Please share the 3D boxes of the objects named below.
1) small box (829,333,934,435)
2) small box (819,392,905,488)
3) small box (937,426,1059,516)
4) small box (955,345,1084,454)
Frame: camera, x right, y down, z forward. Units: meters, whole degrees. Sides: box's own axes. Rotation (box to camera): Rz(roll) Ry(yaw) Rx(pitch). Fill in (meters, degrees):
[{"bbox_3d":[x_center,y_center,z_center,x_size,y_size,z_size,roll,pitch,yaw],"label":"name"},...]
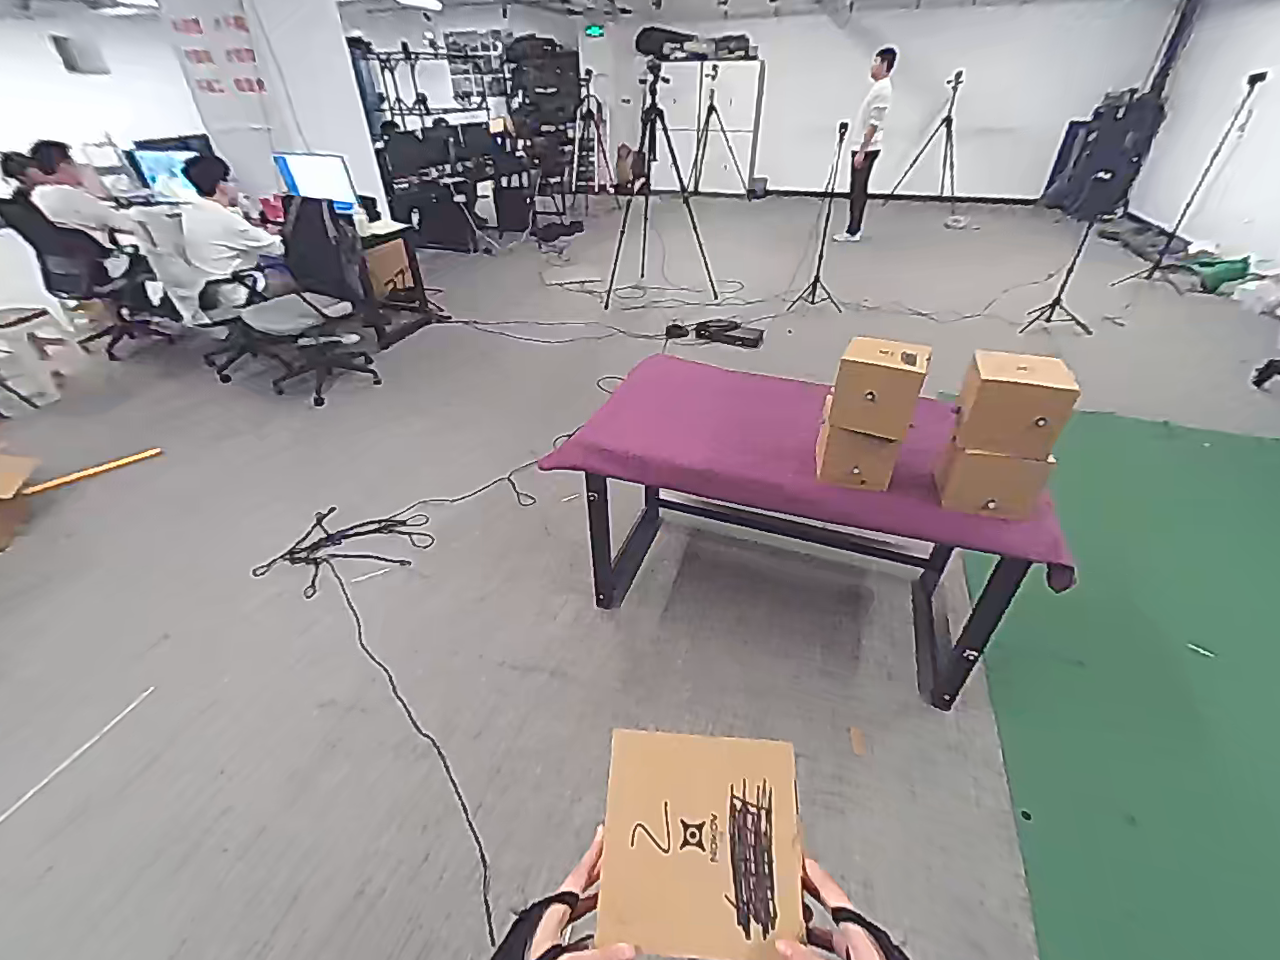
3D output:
[{"bbox_3d":[0.554,-0.221,1.247,0.179,0.176,0.168,16,38,24],"label":"small box"},{"bbox_3d":[0.550,-0.103,1.365,0.168,0.176,0.179,7,36,12],"label":"small box"},{"bbox_3d":[0.821,-0.035,1.260,0.179,0.176,0.168,9,37,14],"label":"small box"},{"bbox_3d":[0.808,-0.174,1.173,0.179,0.176,0.168,12,38,19],"label":"small box"}]
